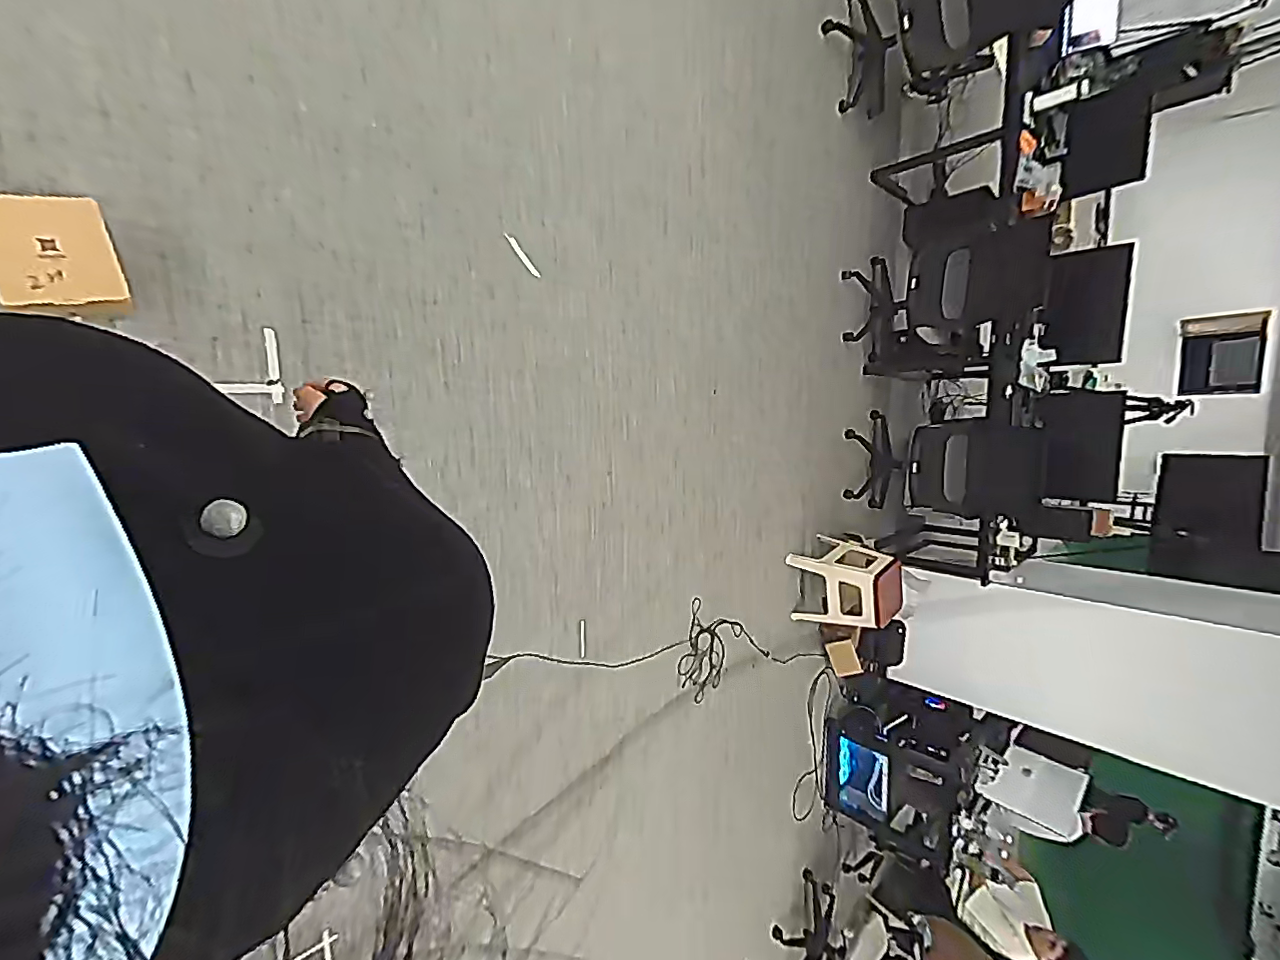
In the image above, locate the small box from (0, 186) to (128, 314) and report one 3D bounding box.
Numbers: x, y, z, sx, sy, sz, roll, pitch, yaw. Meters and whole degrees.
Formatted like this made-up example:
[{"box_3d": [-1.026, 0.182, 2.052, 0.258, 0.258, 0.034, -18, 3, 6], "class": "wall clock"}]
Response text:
[{"box_3d": [-1.054, -0.402, 0.962, 0.168, 0.176, 0.179, -21, 109, -40], "class": "small box"}]
